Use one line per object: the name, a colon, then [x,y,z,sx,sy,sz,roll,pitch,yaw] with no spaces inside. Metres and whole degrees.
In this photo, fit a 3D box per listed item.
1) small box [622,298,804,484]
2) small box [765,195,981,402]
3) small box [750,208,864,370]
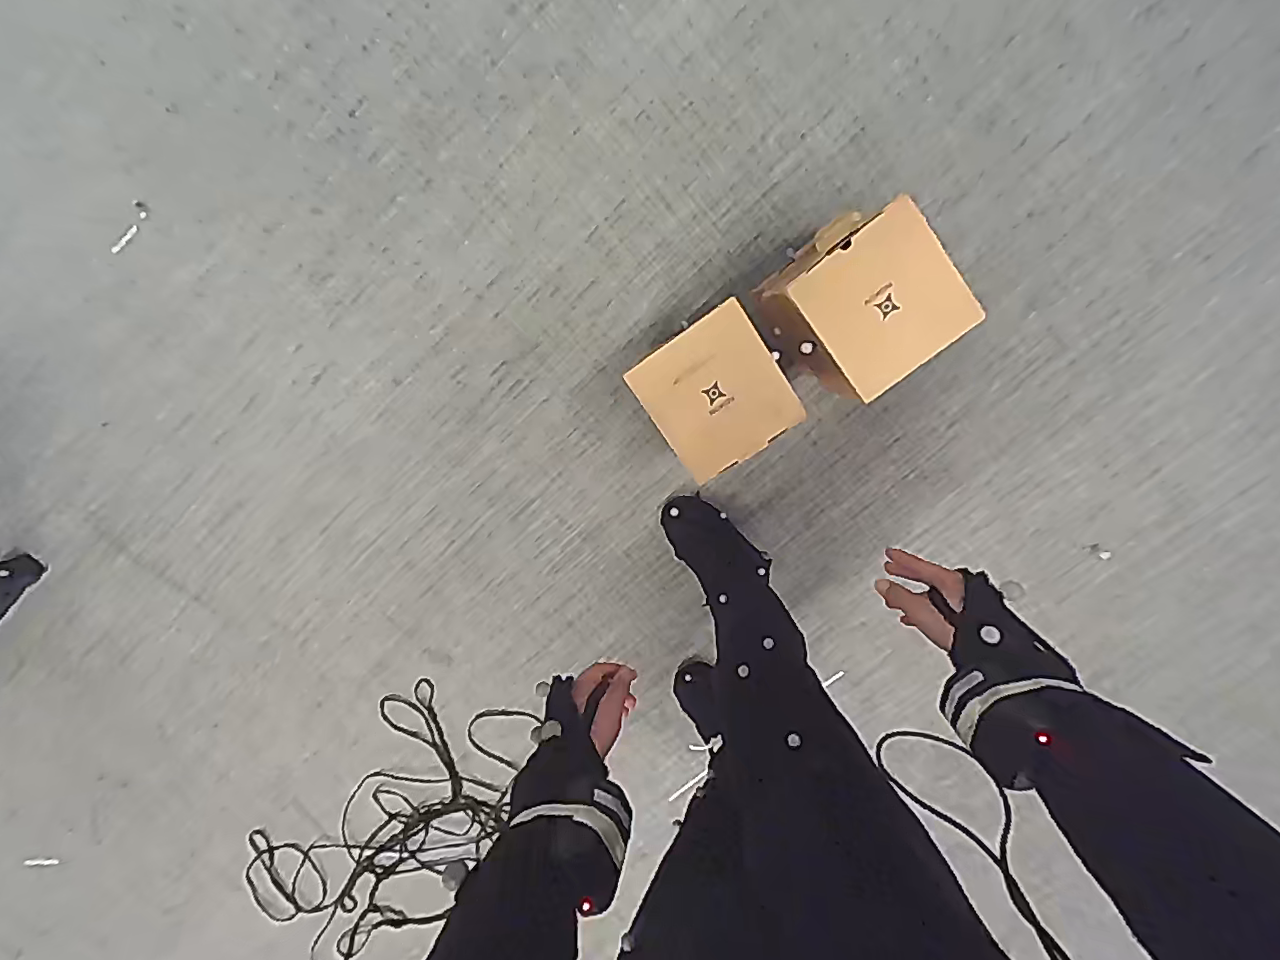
small box: [0.095,-0.124,0.743,0.168,0.176,0.179,-34,99,9]
small box: [0.287,-0.228,0.707,0.168,0.176,0.179,-37,99,11]
small box: [0.295,-0.286,0.860,0.168,0.176,0.179,-37,99,10]
